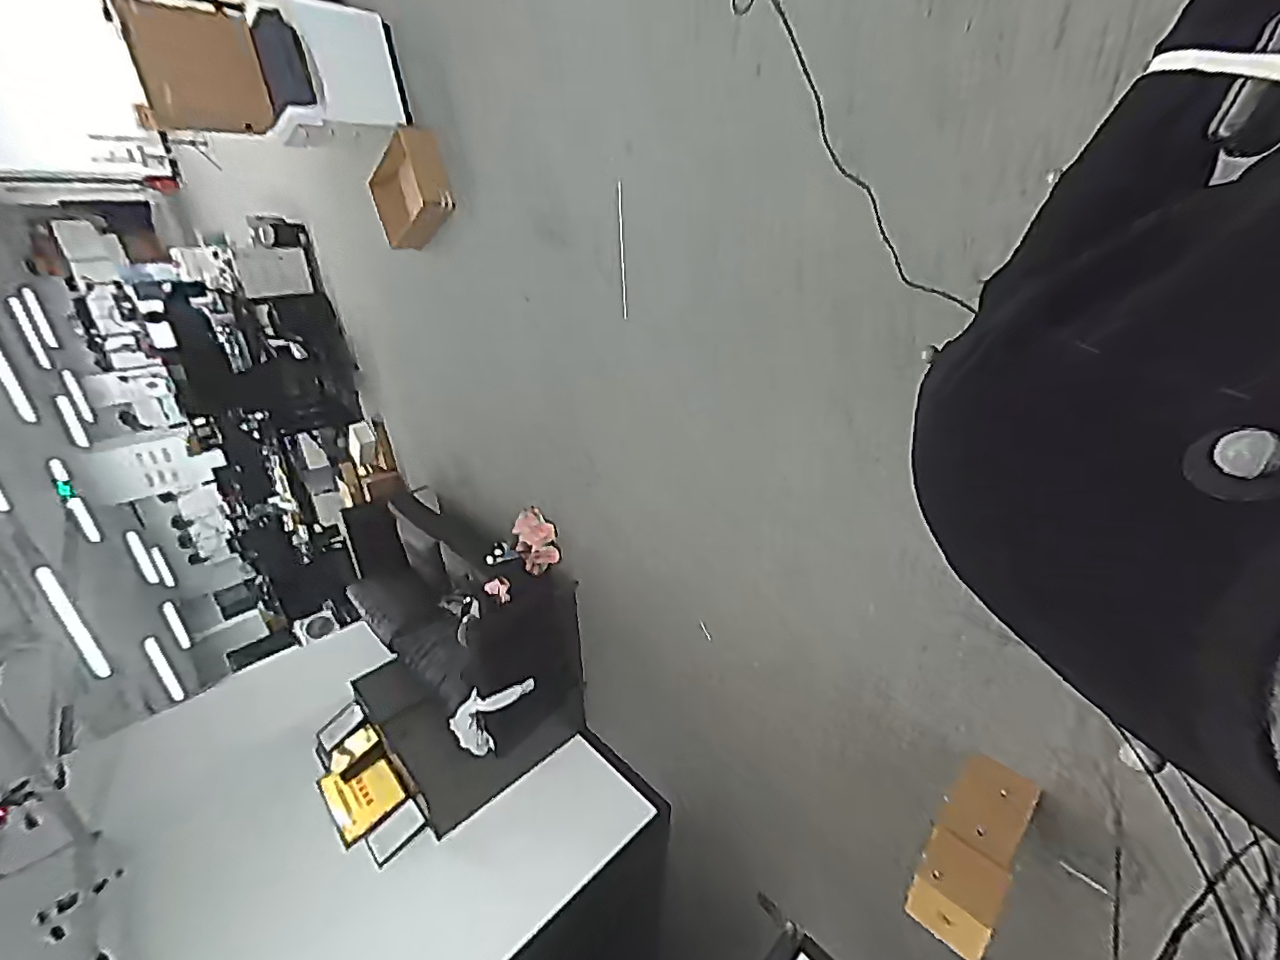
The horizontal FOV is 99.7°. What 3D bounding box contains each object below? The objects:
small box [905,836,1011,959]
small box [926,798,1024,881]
[{"bbox_3d":[0.804,1.058,1.366,0.179,0.176,0.168,23,124,43],"label":"small box"},{"bbox_3d":[0.913,1.017,1.480,0.179,0.176,0.168,19,122,42],"label":"small box"}]
